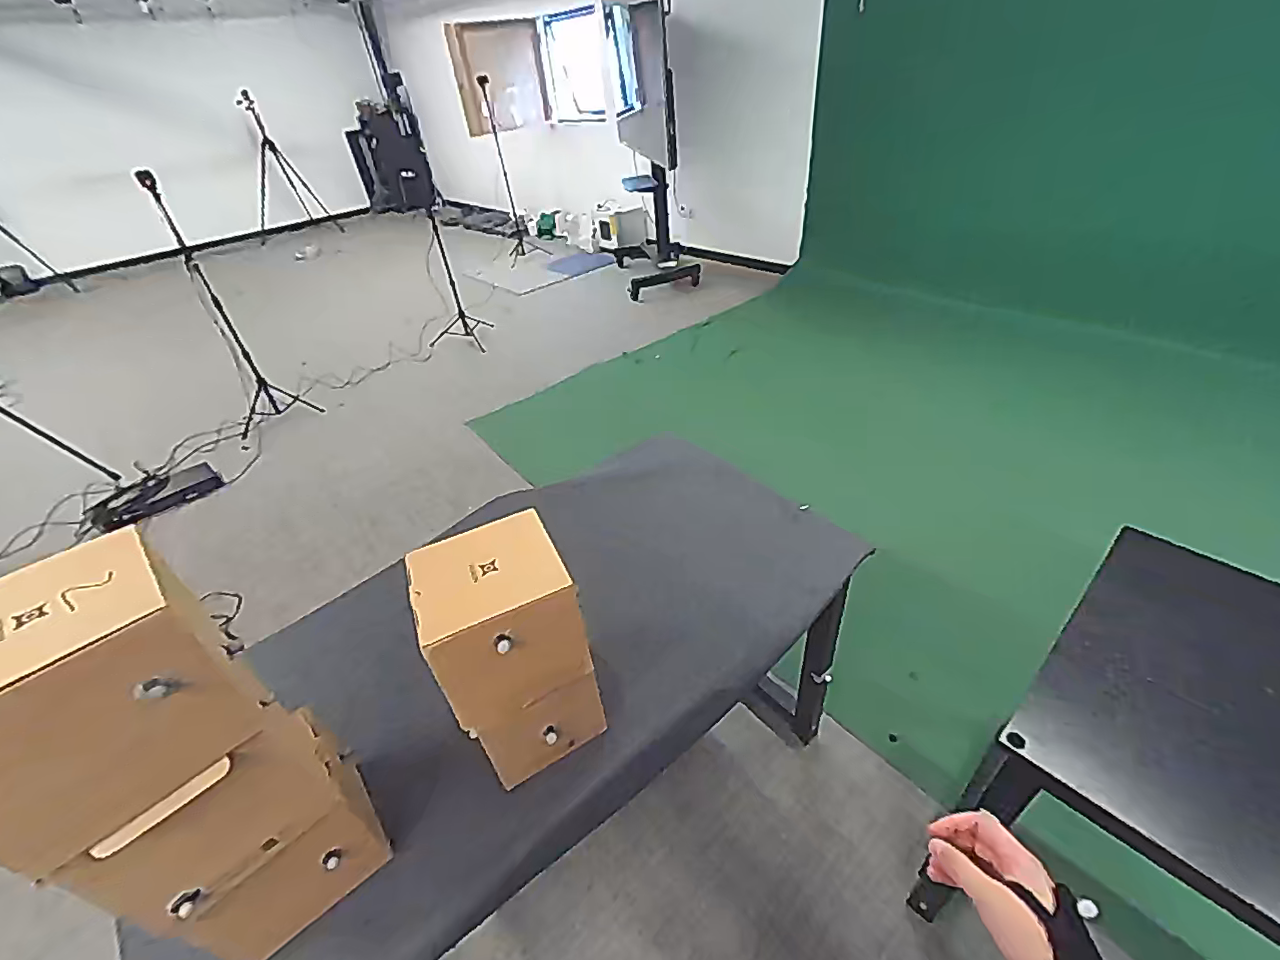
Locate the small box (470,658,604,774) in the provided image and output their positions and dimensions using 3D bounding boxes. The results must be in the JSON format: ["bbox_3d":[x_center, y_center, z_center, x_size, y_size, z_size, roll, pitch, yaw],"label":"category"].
[{"bbox_3d":[-0.169,0.299,0.800,0.168,0.176,0.179,-25,41,-21],"label":"small box"}]

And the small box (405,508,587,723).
[{"bbox_3d":[-0.178,0.171,0.697,0.179,0.176,0.168,-21,39,-16],"label":"small box"}]

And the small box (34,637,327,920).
[{"bbox_3d":[-0.466,0.309,0.566,0.179,0.176,0.168,26,47,38],"label":"small box"}]

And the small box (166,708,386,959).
[{"bbox_3d":[-0.443,0.435,0.671,0.179,0.176,0.168,-33,43,-28],"label":"small box"}]
